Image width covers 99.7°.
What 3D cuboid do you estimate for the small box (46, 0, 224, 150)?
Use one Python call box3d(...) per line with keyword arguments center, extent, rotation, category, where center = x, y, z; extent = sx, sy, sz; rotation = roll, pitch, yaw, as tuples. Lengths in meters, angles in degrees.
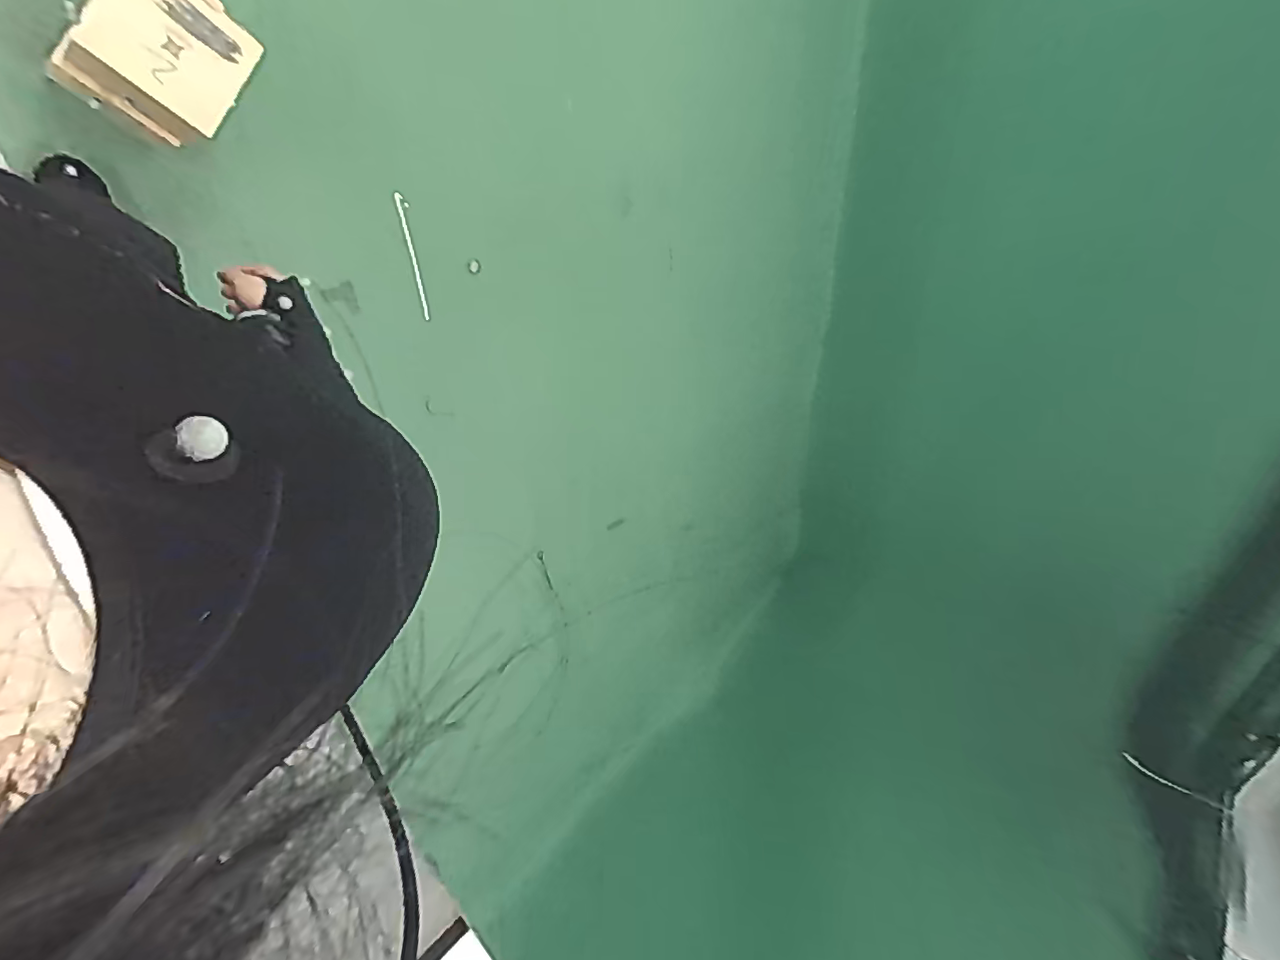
box3d(center=(-0.866, -0.701, 0.929), extent=(0.168, 0.176, 0.179), rotation=(31, 84, -52), category="small box")
